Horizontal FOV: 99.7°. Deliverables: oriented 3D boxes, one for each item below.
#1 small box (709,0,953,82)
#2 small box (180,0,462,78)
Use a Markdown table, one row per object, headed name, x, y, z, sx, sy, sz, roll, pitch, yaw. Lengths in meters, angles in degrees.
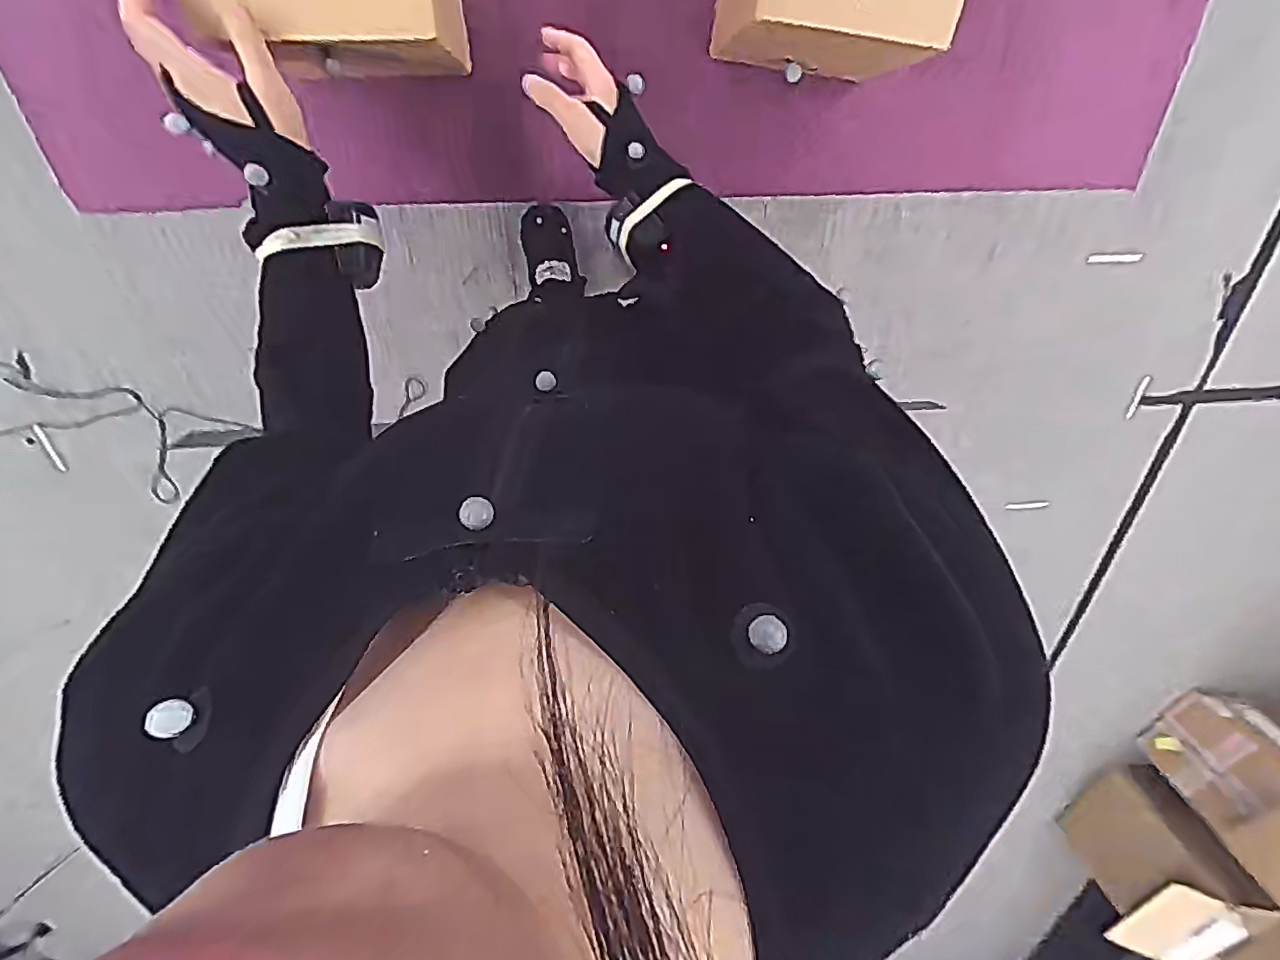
| name | x | y | z | sx | sy | sz | roll | pitch | yaw |
| --- | --- | --- | --- | --- | --- | --- | --- | --- | --- |
| small box | 0.164 | -0.467 | 0.459 | 0.168 | 0.176 | 0.179 | 3 | 119 | -8 |
| small box | -0.250 | -0.435 | 0.431 | 0.179 | 0.176 | 0.168 | -4 | 120 | -4 |
